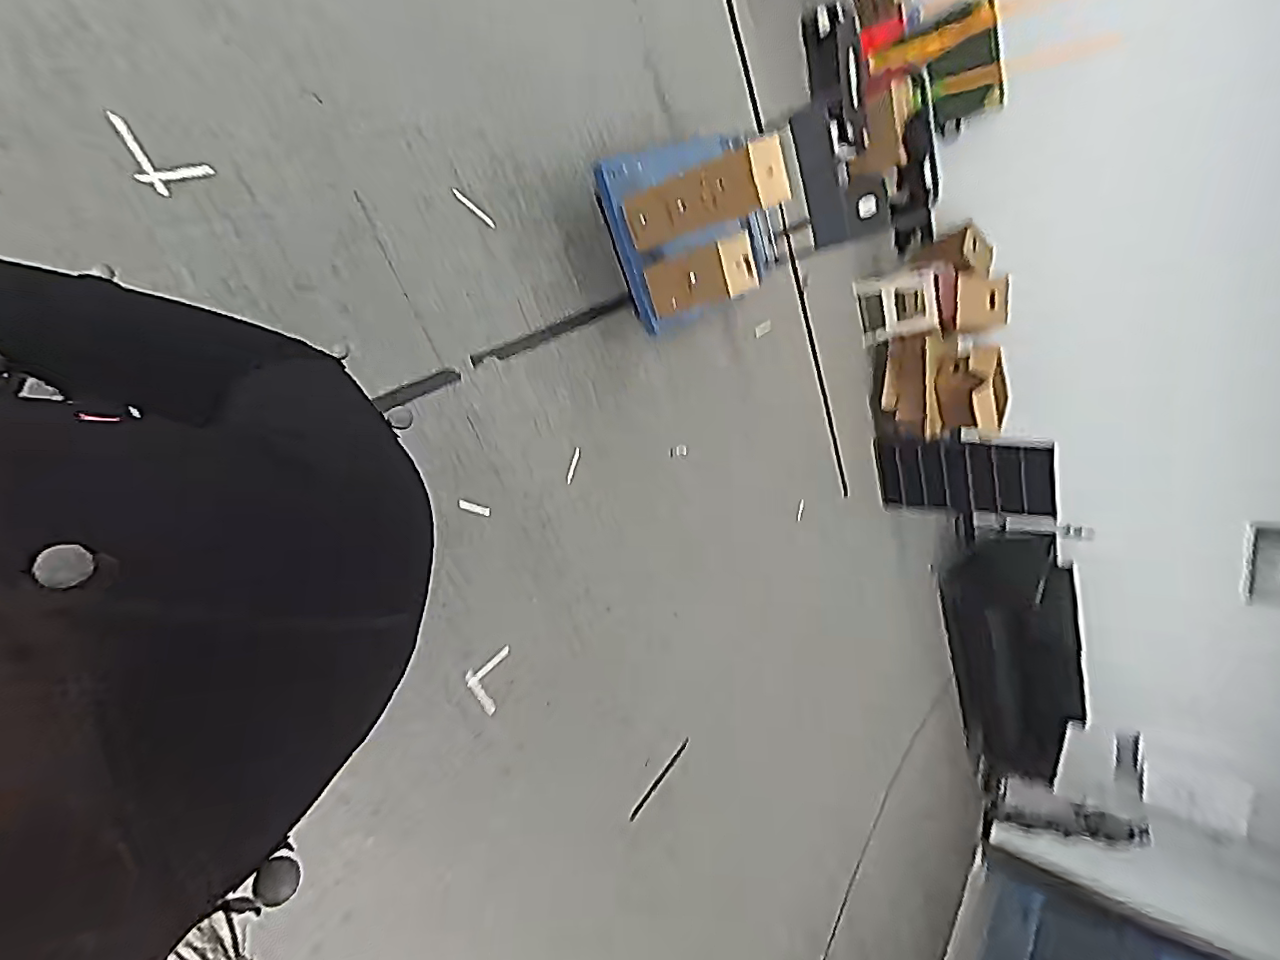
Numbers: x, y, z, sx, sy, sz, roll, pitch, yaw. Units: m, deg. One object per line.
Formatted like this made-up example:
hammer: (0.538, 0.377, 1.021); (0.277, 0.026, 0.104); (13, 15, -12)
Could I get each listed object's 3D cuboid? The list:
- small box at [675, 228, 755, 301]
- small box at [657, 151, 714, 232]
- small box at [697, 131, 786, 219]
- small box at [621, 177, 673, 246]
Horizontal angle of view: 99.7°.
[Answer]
small box: (0.242, -0.694, 1.747); (0.179, 0.176, 0.168); (-36, 116, -37)
small box: (0.172, -0.889, 1.668); (0.179, 0.176, 0.168); (-41, 120, -34)
small box: (0.291, -0.876, 1.557); (0.179, 0.176, 0.168); (-39, 118, -36)
small box: (0.059, -0.894, 1.787); (0.179, 0.176, 0.168); (-40, 119, -36)
